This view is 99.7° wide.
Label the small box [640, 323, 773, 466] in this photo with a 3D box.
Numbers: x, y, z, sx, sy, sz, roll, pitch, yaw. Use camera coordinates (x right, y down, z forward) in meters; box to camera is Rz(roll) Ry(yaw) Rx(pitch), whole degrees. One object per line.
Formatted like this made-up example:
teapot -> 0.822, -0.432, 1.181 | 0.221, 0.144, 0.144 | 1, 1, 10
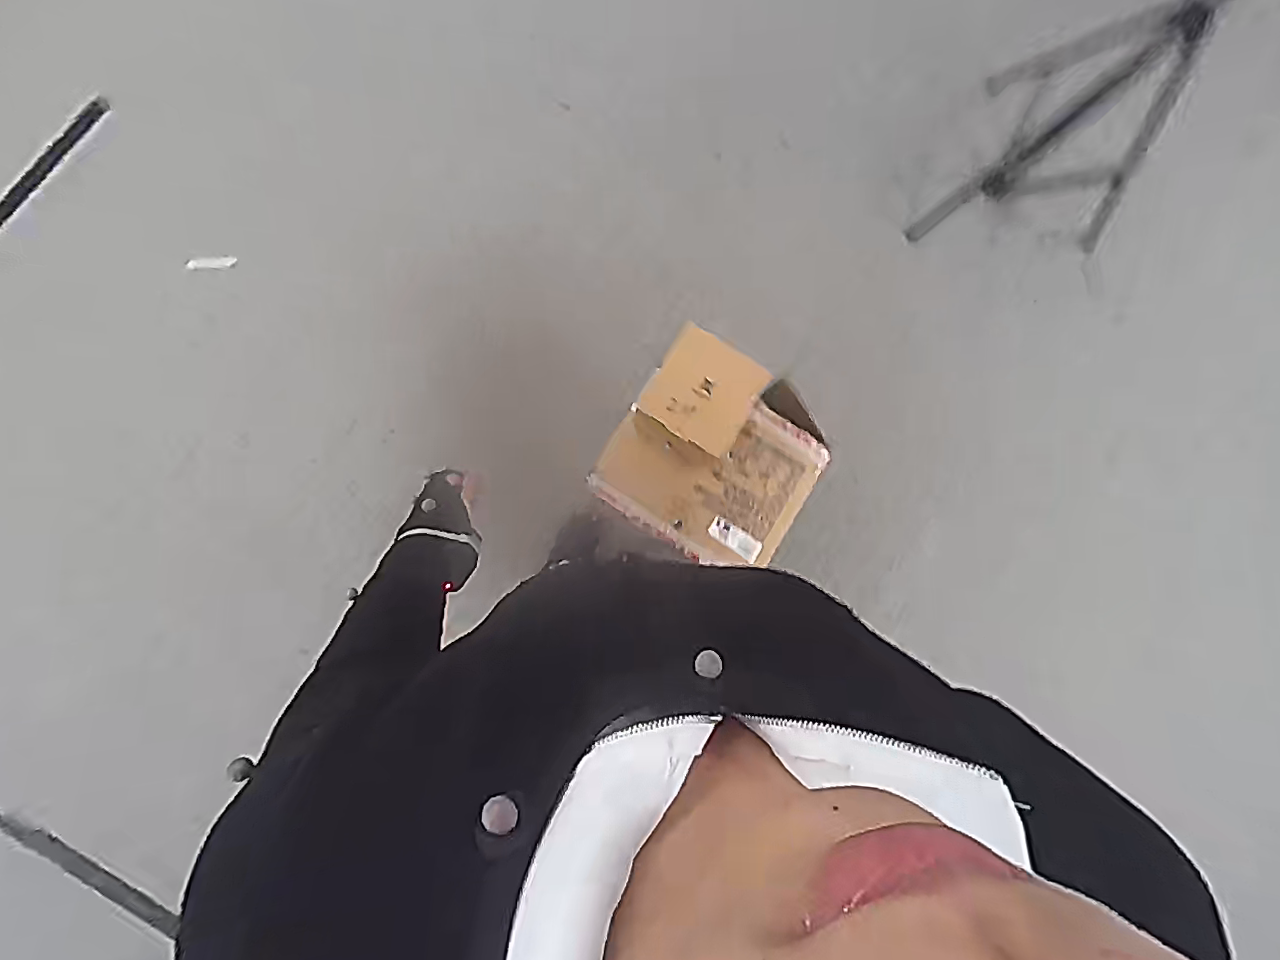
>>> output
small box -> 0.107, -0.143, 0.974 | 0.168, 0.176, 0.179 | 33, 86, 1
